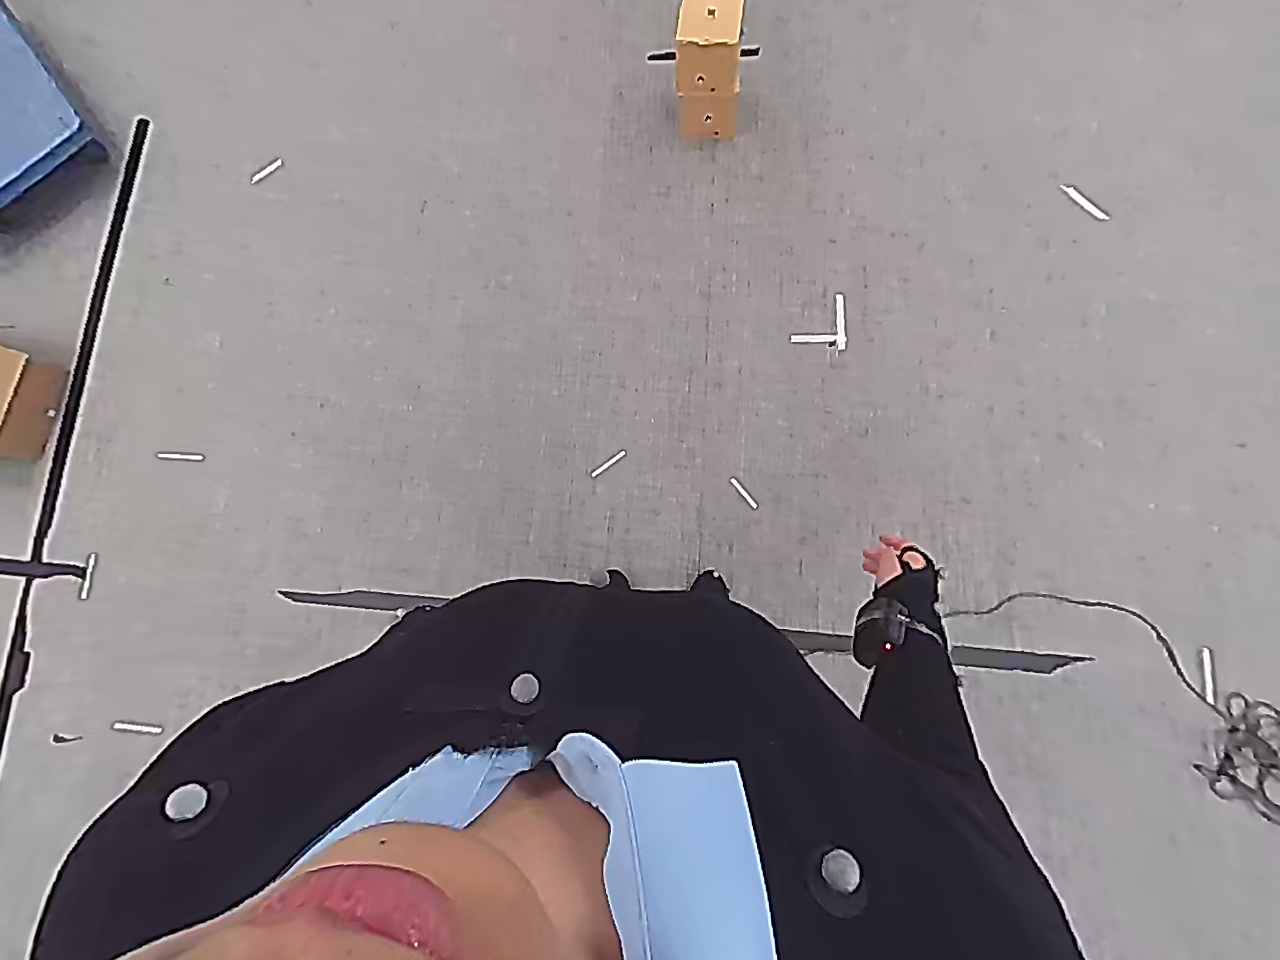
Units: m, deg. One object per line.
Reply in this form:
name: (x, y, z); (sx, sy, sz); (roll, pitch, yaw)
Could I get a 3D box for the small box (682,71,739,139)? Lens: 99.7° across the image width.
small box: (0.216, -1.180, 1.659); (0.168, 0.176, 0.179); (1, 80, 5)

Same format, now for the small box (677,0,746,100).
small box: (0.196, -1.204, 1.499); (0.168, 0.176, 0.179); (7, 82, 7)
